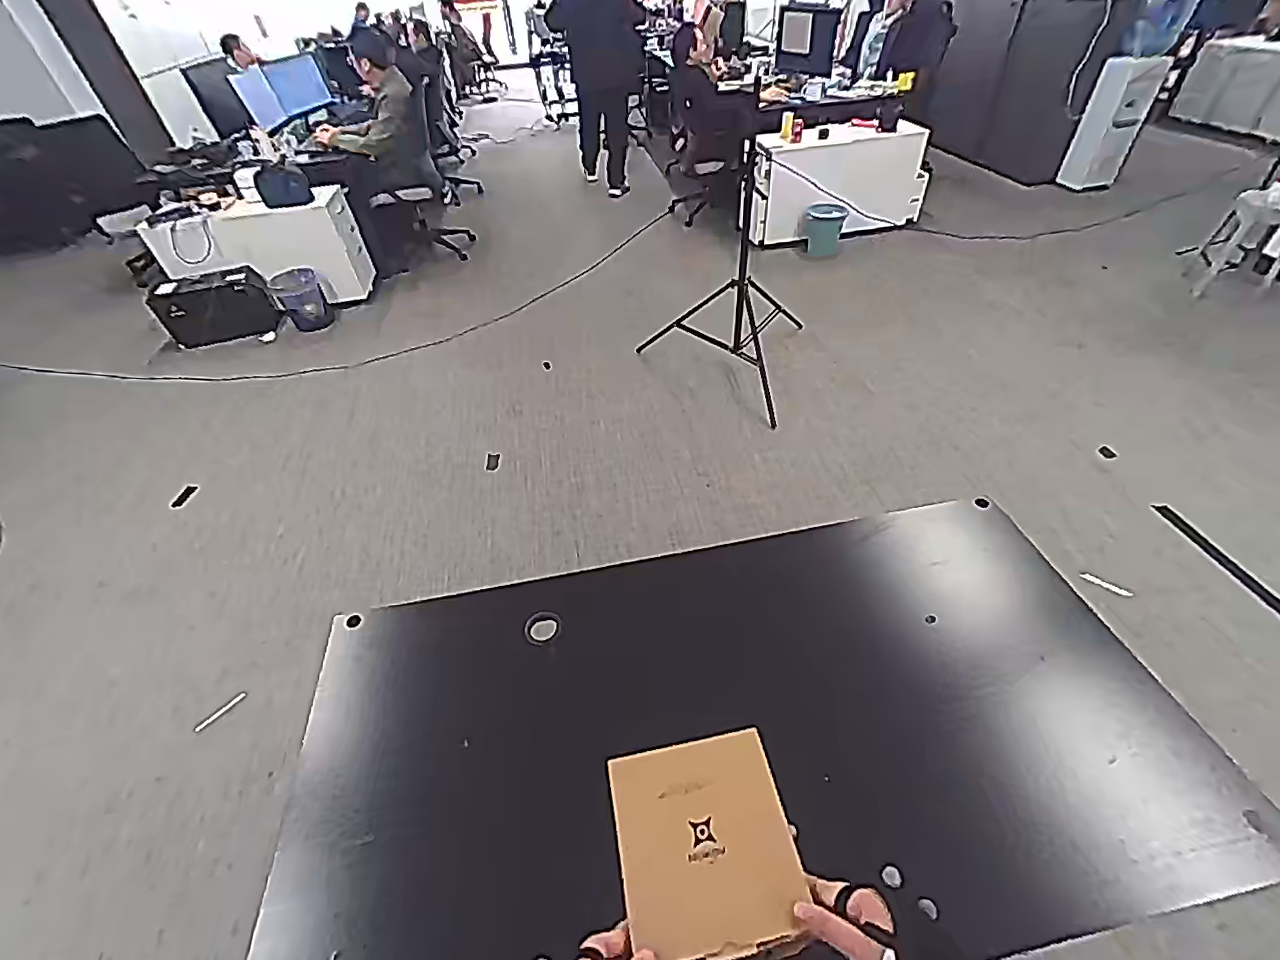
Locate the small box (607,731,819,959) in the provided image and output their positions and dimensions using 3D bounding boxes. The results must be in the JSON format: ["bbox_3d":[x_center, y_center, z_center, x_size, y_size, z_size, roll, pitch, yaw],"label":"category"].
[{"bbox_3d":[0.066,0.398,0.566,0.168,0.176,0.179,-10,43,-6],"label":"small box"}]
